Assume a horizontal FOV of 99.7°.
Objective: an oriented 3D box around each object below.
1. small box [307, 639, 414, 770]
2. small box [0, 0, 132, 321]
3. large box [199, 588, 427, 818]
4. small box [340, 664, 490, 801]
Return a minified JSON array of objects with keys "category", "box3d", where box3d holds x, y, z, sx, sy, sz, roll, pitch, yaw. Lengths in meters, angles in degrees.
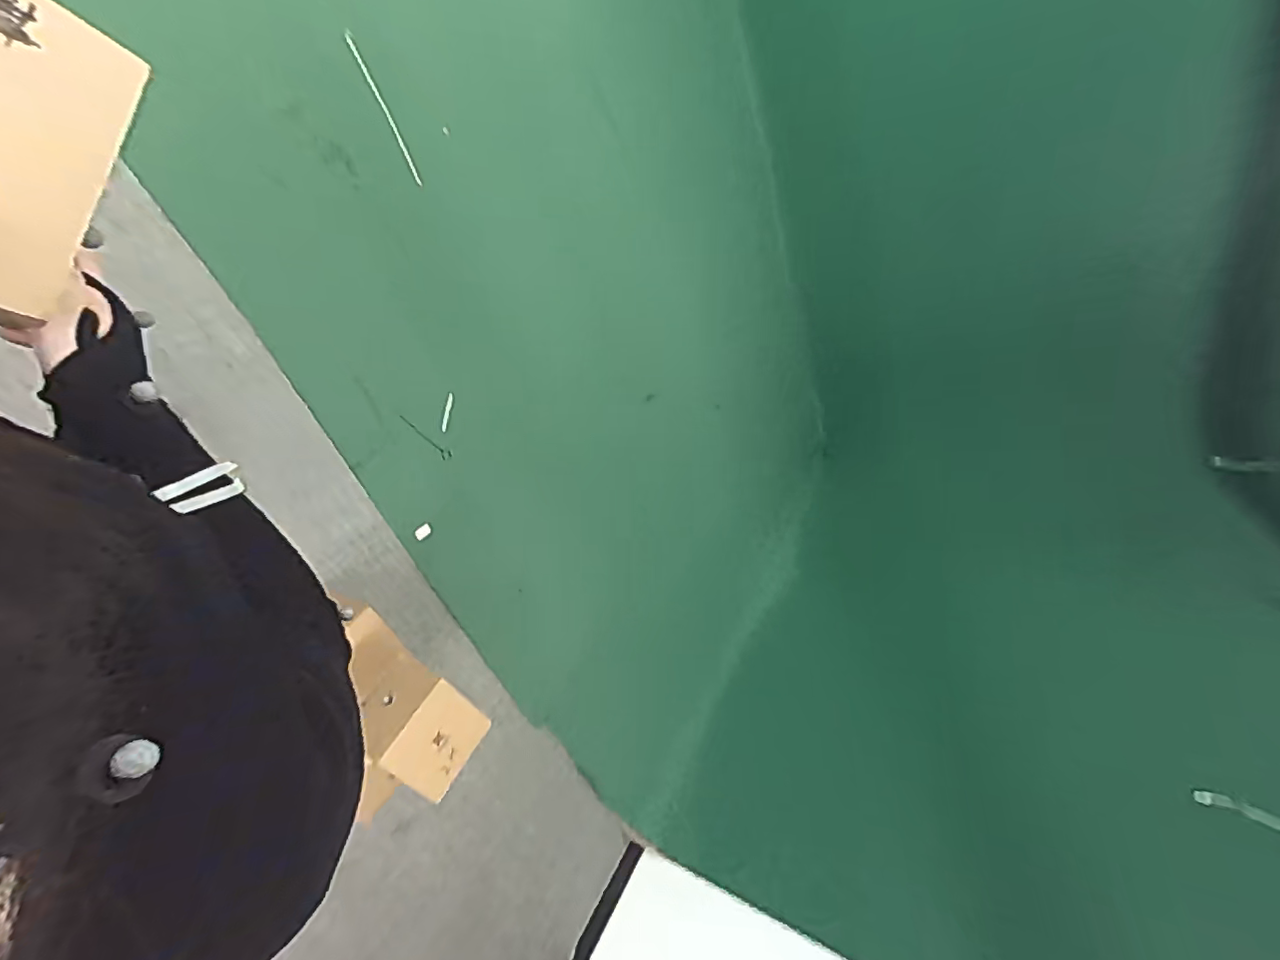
[{"category":"small box","box3d":[-0.570,0.470,1.153,0.179,0.176,0.168,-51,130,-38]},{"category":"small box","box3d":[-0.439,-0.206,0.307,0.168,0.176,0.179,22,82,-53]},{"category":"large box","box3d":[-0.746,0.528,1.327,0.320,0.320,0.408,-49,129,-38]},{"category":"small box","box3d":[-0.439,0.481,1.055,0.168,0.176,0.179,-54,132,-34]}]
